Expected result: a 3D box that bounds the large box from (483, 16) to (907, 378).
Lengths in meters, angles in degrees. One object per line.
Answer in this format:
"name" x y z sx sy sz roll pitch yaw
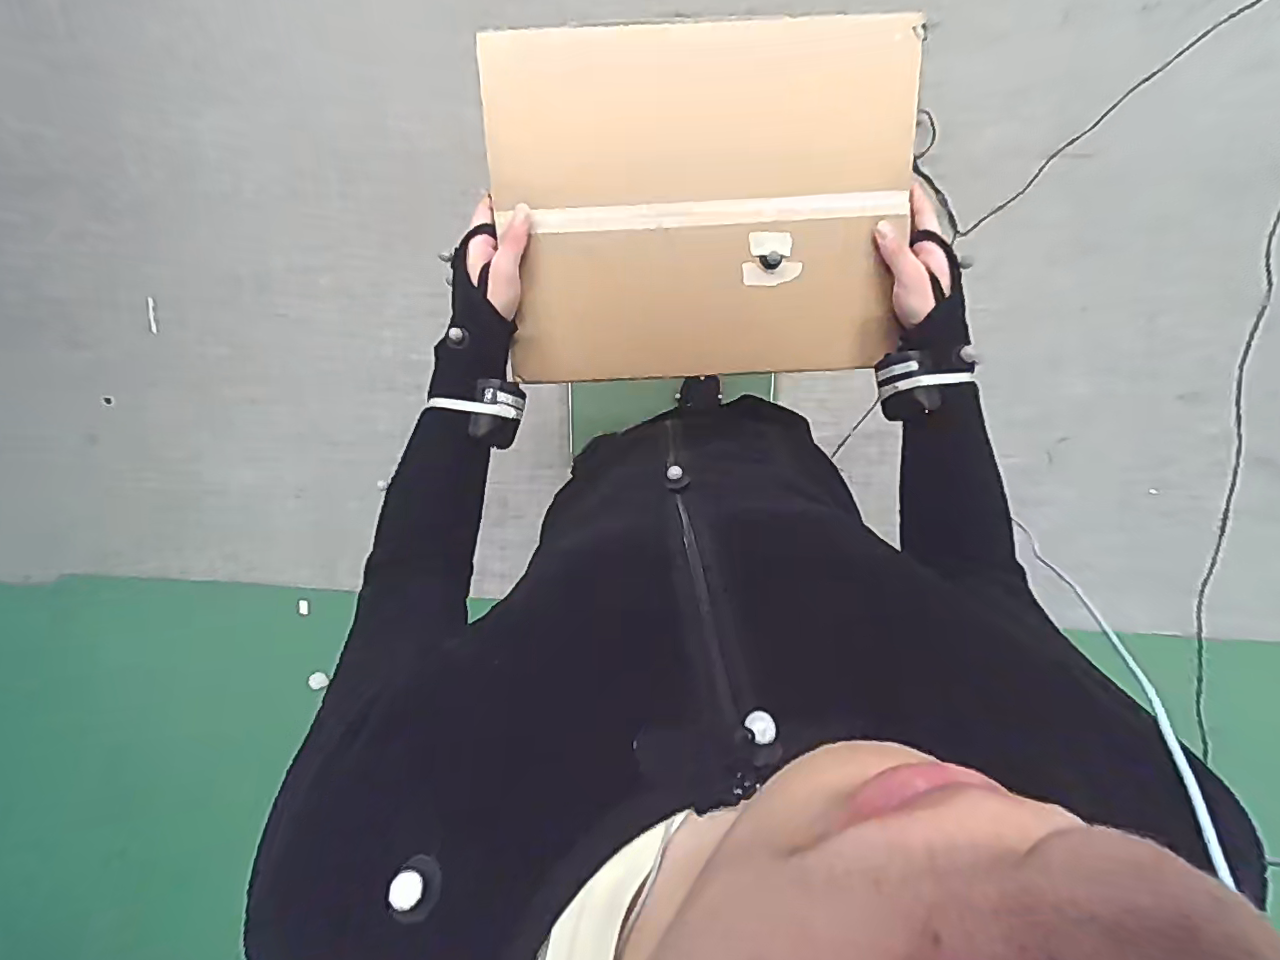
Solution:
"large box" 0.055 -0.309 0.681 0.408 0.320 0.320 -3 106 -1
